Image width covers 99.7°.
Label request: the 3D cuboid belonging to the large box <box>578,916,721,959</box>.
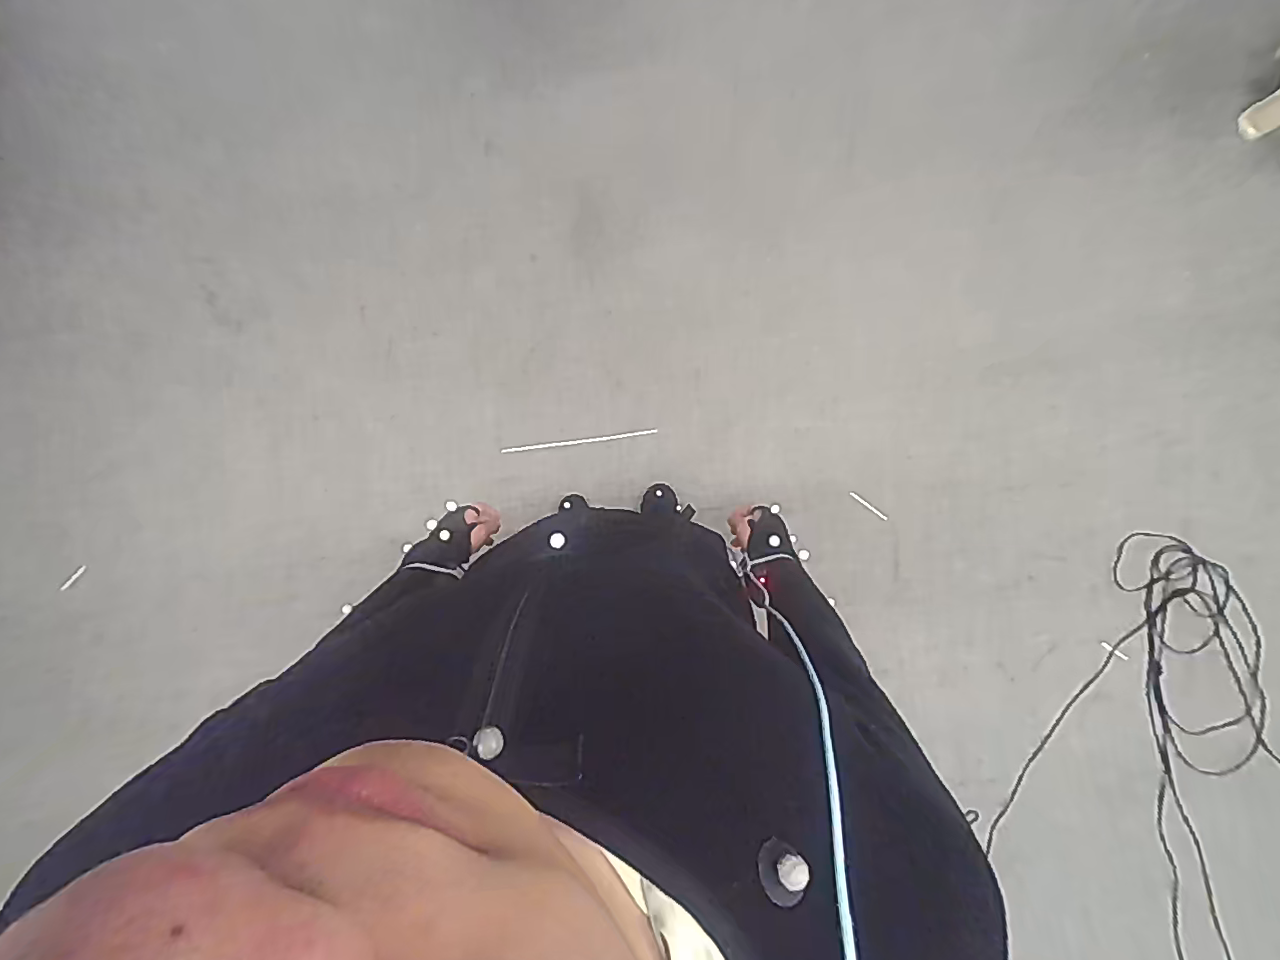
[{"bbox_3d":[0.039,1.468,1.465,0.408,0.320,0.320,-5,88,0],"label":"large box"}]
